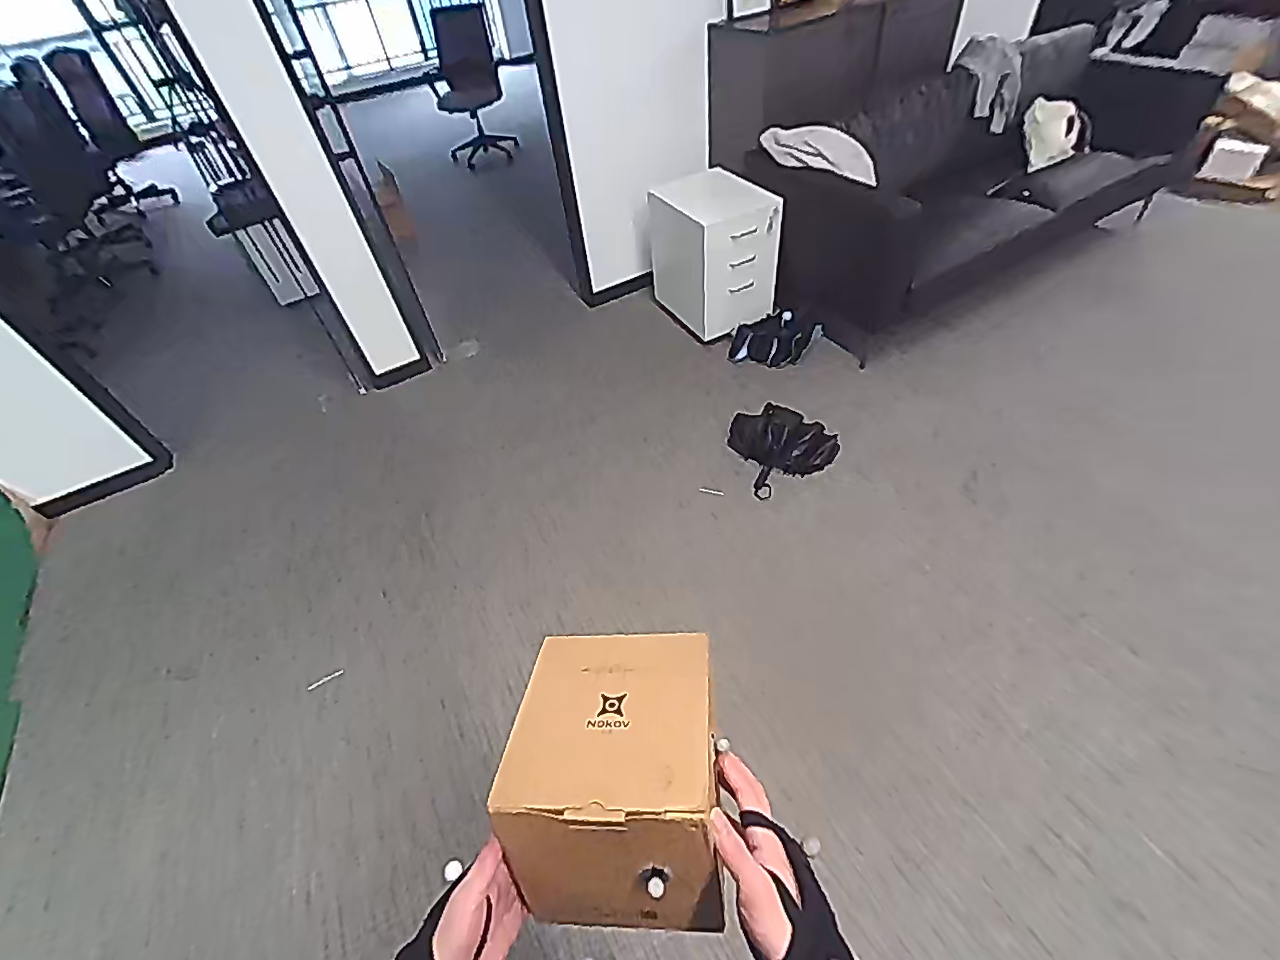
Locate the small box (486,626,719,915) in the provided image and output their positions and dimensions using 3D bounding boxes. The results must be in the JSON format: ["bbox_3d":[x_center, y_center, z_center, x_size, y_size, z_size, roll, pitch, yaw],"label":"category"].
[{"bbox_3d":[-0.016,0.259,0.495,0.168,0.176,0.179,-3,28,8],"label":"small box"}]
